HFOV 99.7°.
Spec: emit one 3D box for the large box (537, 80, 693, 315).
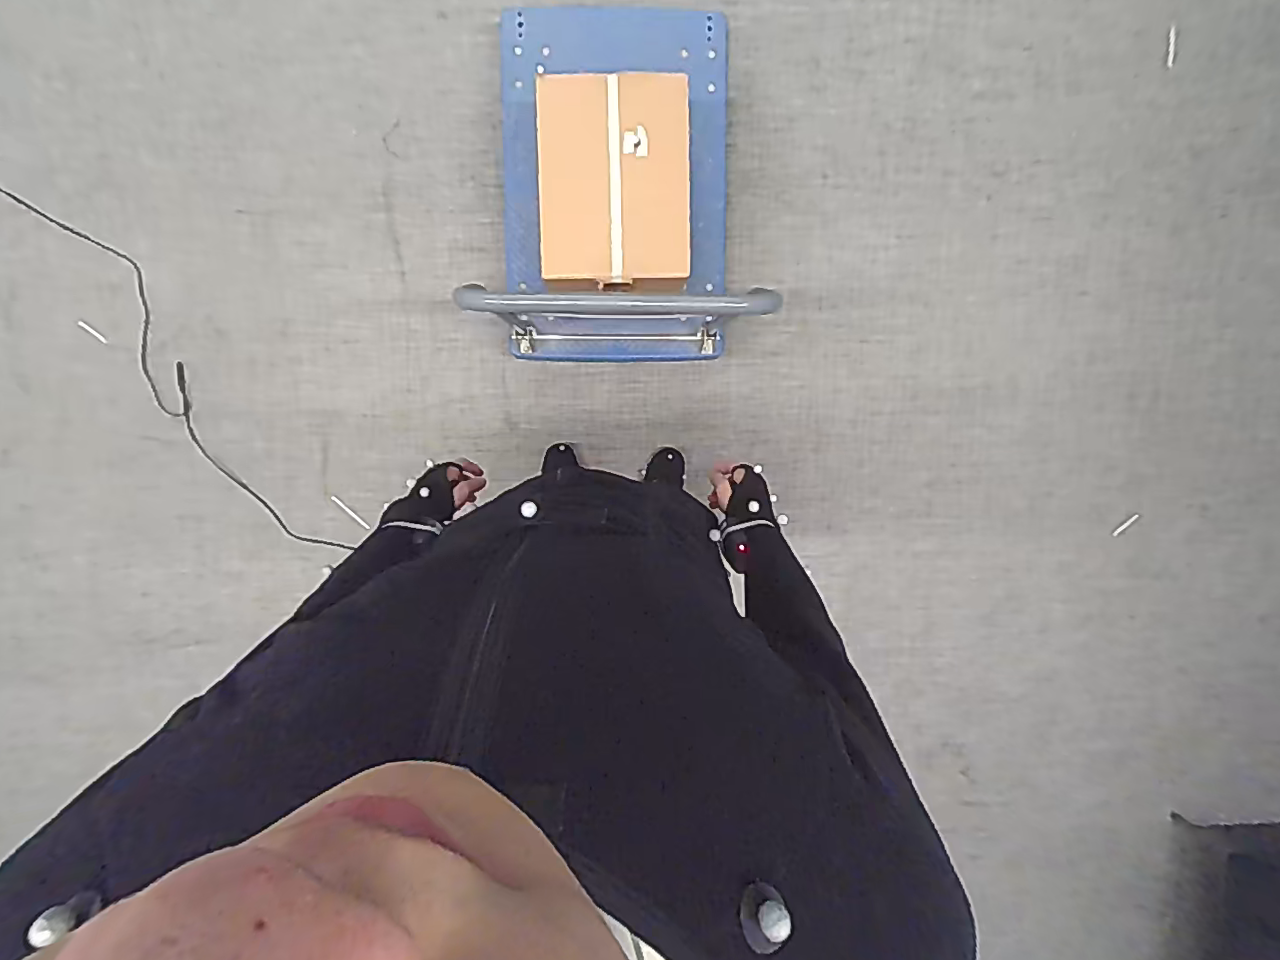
[{"bbox_3d":[-0.052,-0.624,1.263,0.320,0.320,0.408,-1,94,-2],"label":"large box"}]
